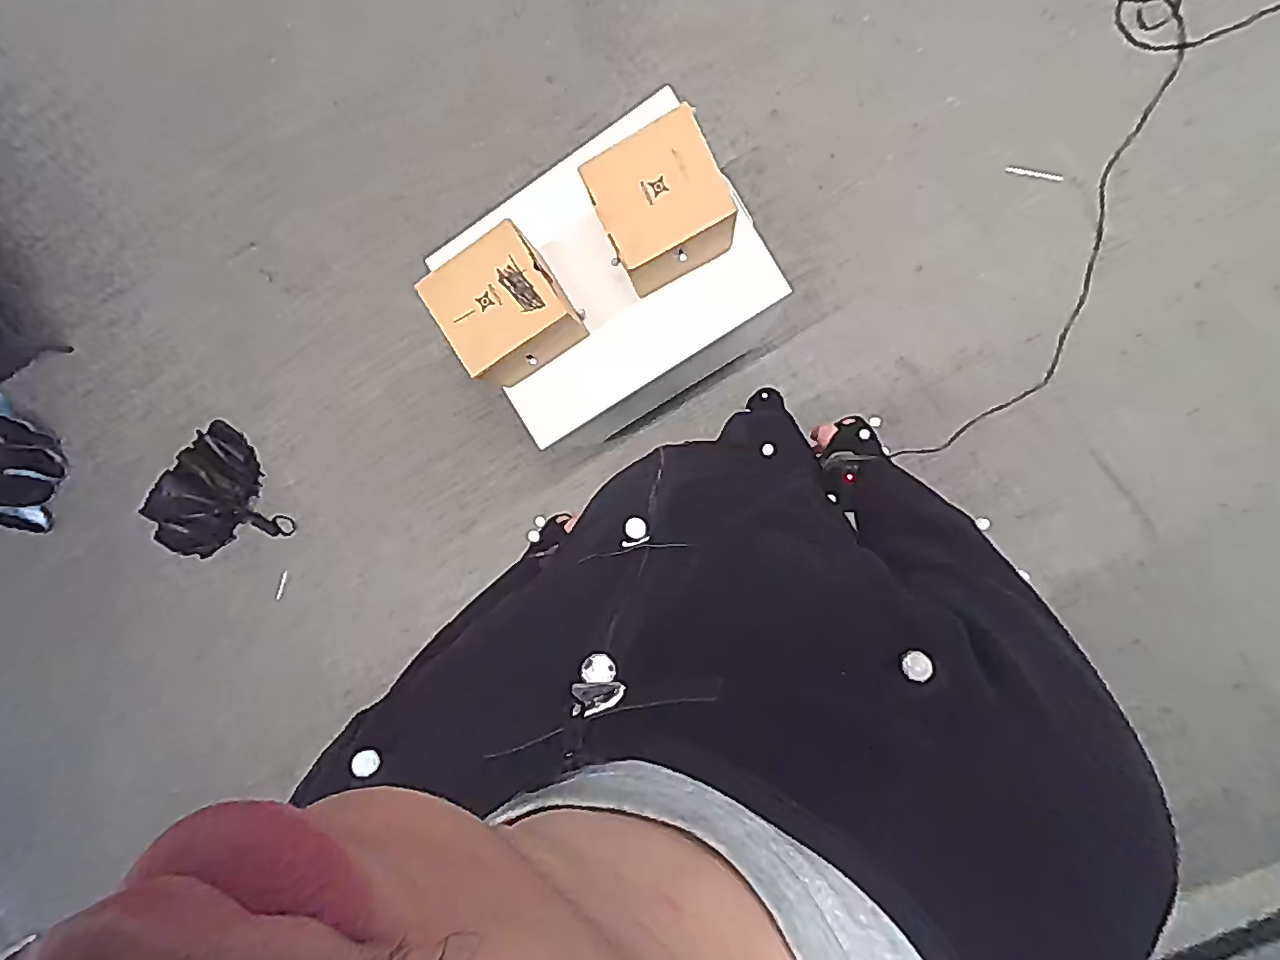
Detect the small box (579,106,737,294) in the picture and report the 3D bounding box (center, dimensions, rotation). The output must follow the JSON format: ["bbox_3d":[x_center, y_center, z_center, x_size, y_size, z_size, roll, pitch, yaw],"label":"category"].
[{"bbox_3d":[0.034,-0.411,0.832,0.179,0.176,0.168,-26,93,8],"label":"small box"}]
